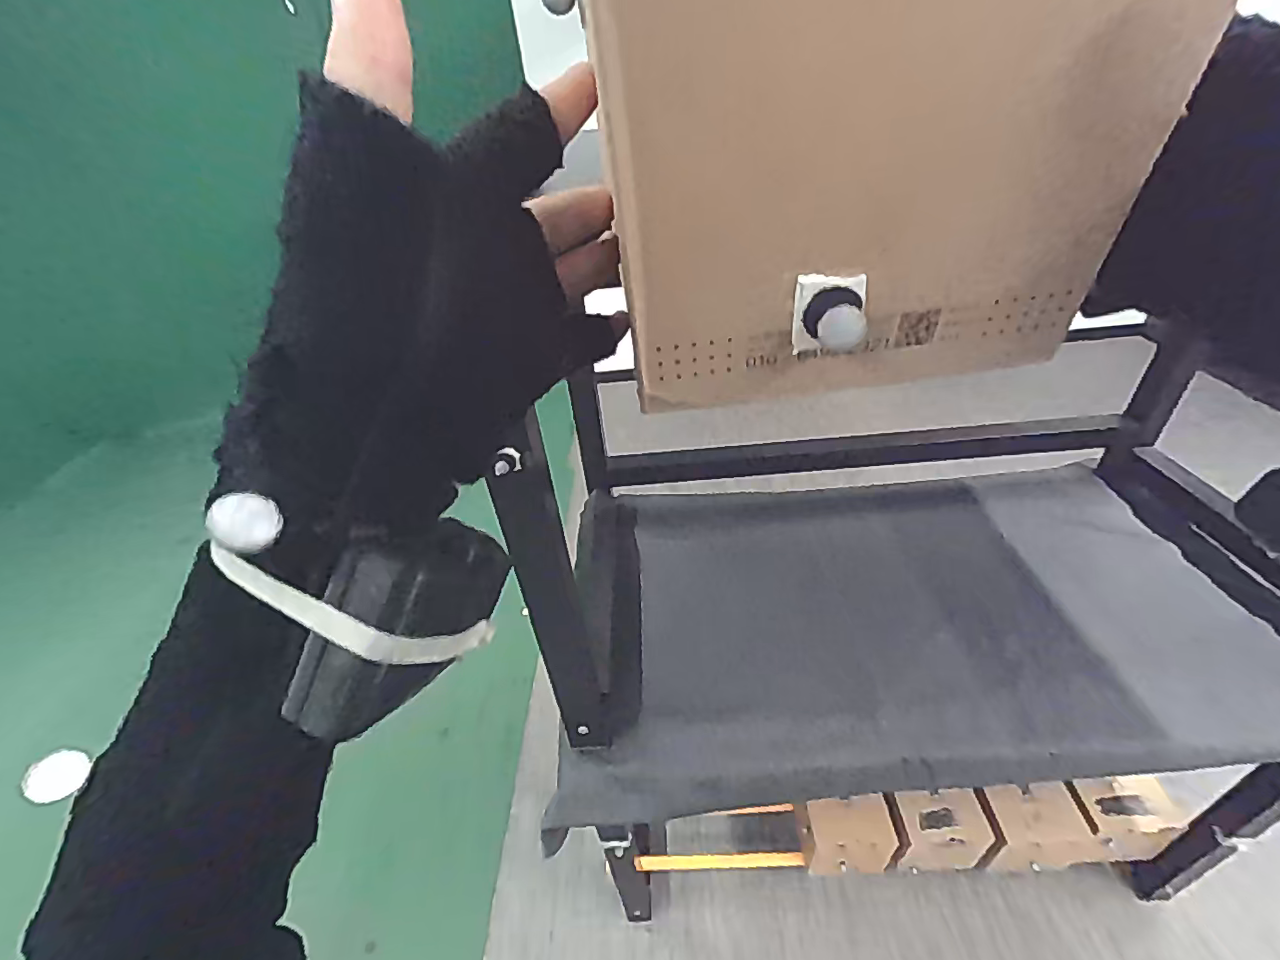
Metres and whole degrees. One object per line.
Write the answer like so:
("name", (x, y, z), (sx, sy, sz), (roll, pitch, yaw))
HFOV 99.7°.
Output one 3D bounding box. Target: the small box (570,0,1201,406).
("small box", (0.061, -0.154, 0.219), (0.168, 0.176, 0.179), (-10, 45, 1))
